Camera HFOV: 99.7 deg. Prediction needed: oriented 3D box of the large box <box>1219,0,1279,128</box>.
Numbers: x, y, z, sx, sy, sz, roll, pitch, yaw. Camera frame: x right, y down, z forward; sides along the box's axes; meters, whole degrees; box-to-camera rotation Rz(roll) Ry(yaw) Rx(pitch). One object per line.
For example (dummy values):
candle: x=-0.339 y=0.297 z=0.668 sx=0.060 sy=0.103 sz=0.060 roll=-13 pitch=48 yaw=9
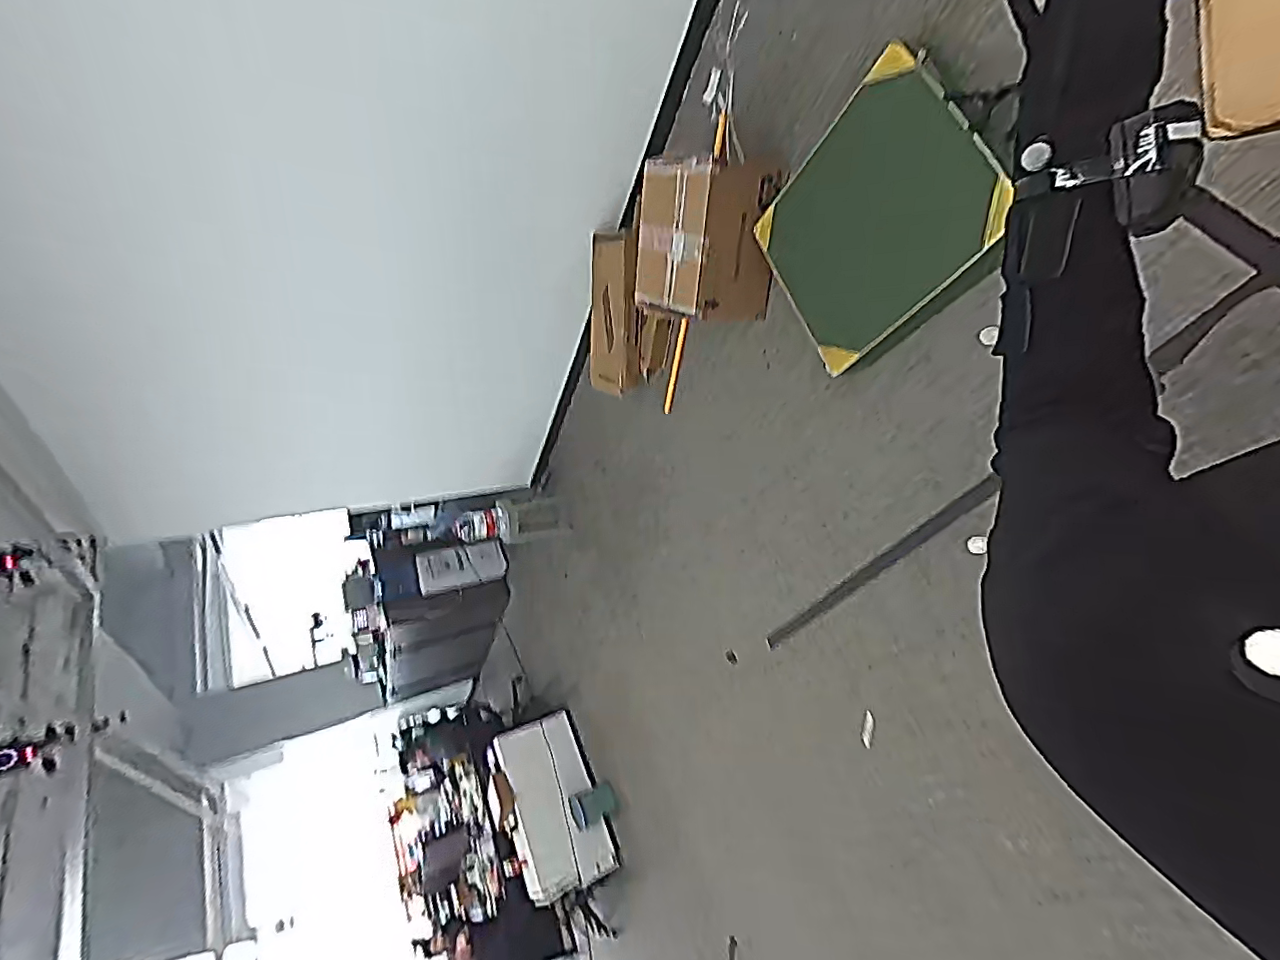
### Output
large box: x=0.513 y=-0.386 z=0.181 sx=0.408 sy=0.320 sz=0.320 roll=4 pitch=115 yaw=59
